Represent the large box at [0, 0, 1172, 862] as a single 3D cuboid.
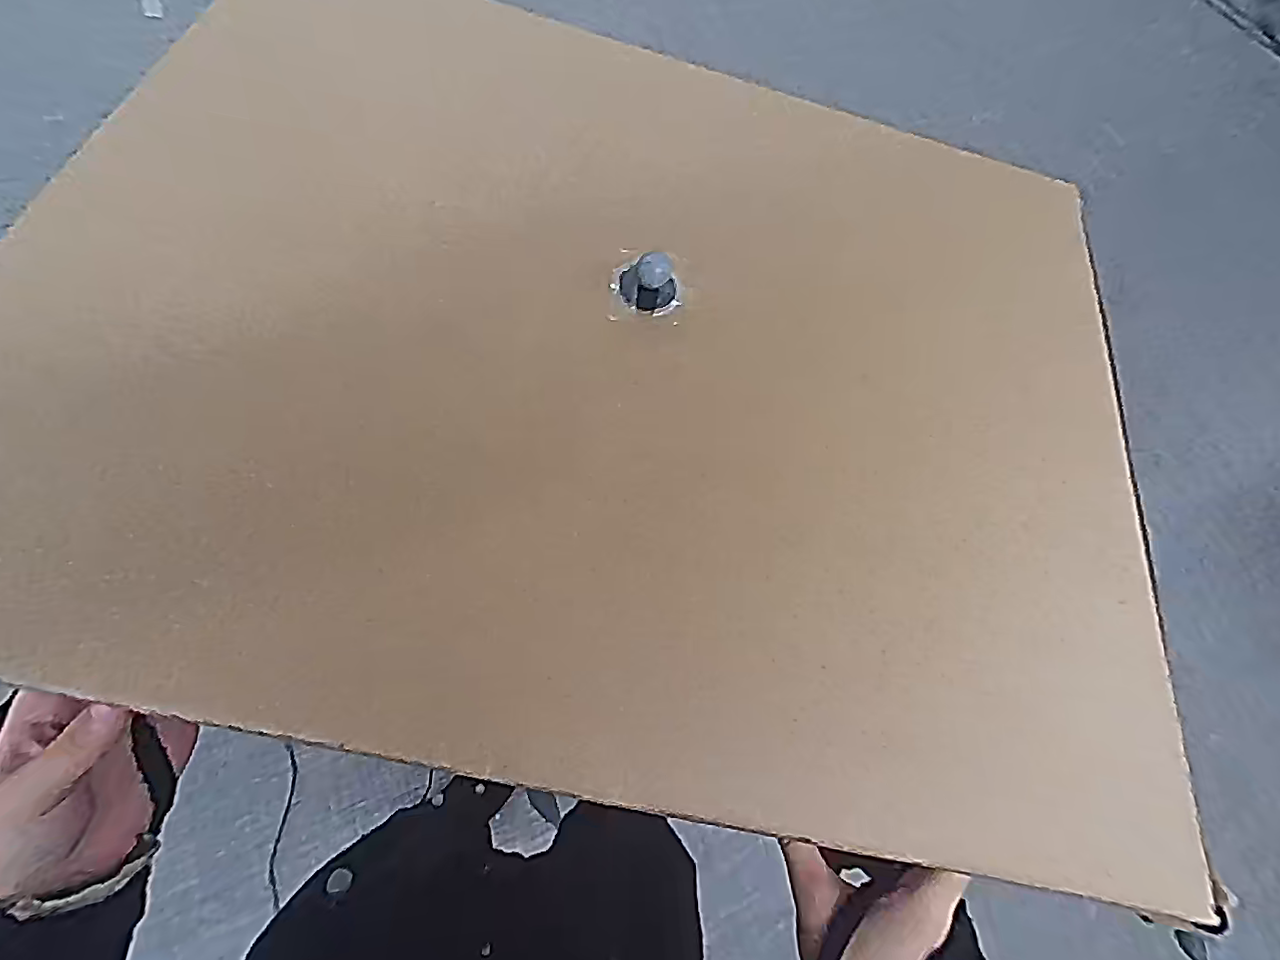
[{"bbox_3d":[-0.040,-0.012,0.336,0.408,0.320,0.320,11,69,-4],"label":"large box"}]
